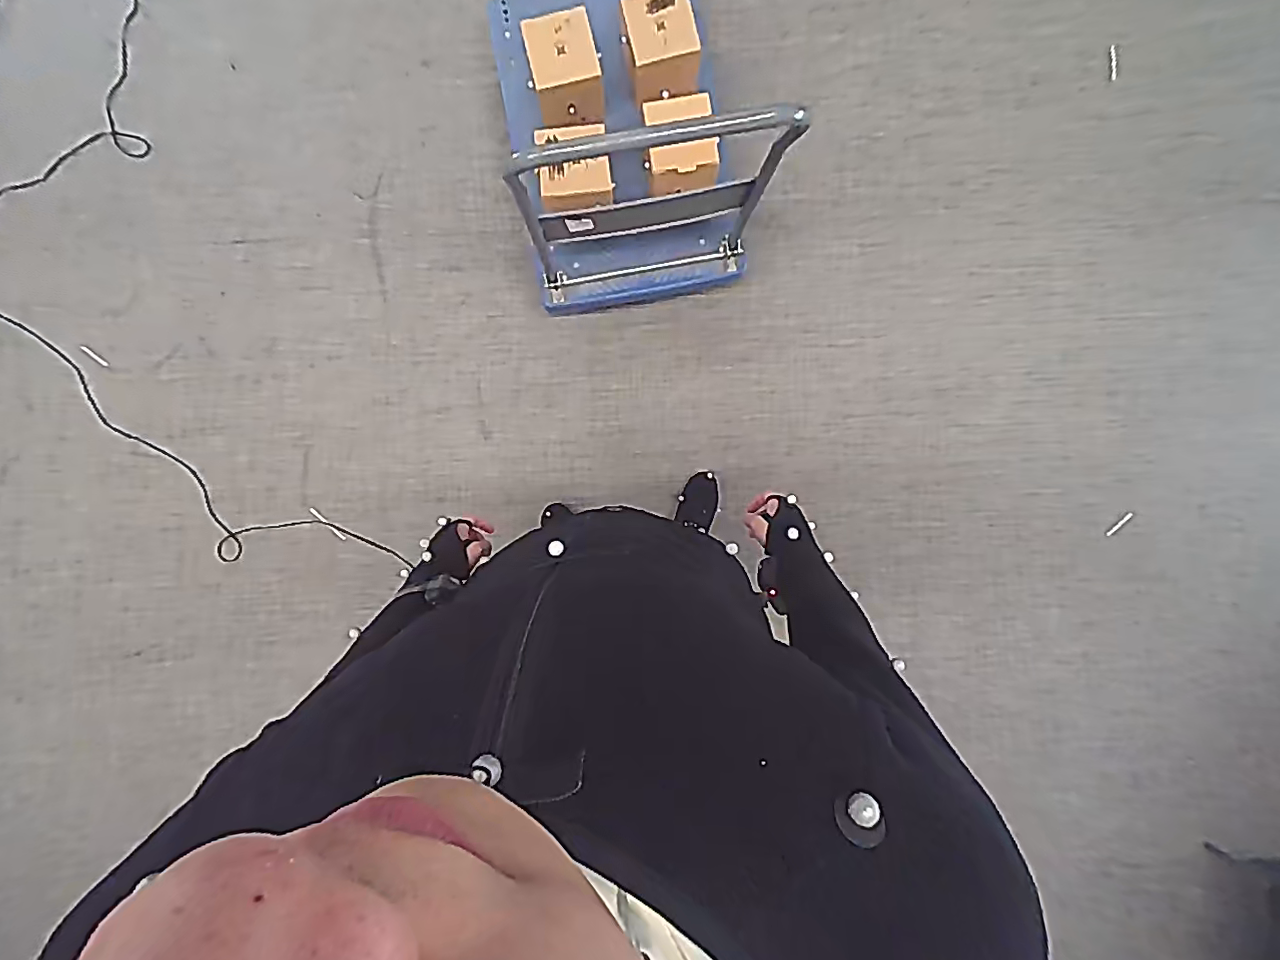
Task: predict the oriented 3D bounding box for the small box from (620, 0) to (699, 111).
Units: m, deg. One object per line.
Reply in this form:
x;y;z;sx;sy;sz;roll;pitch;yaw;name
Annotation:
0.048;-1.116;1.410;0.168;0.176;0.179;-14;91;1;small box

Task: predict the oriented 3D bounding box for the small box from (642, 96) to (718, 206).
0.098;-0.850;1.410;0.168;0.176;0.179;-10;90;0;small box

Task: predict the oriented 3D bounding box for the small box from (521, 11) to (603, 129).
-0.196;-1.053;1.409;0.168;0.176;0.179;-14;90;-1;small box
